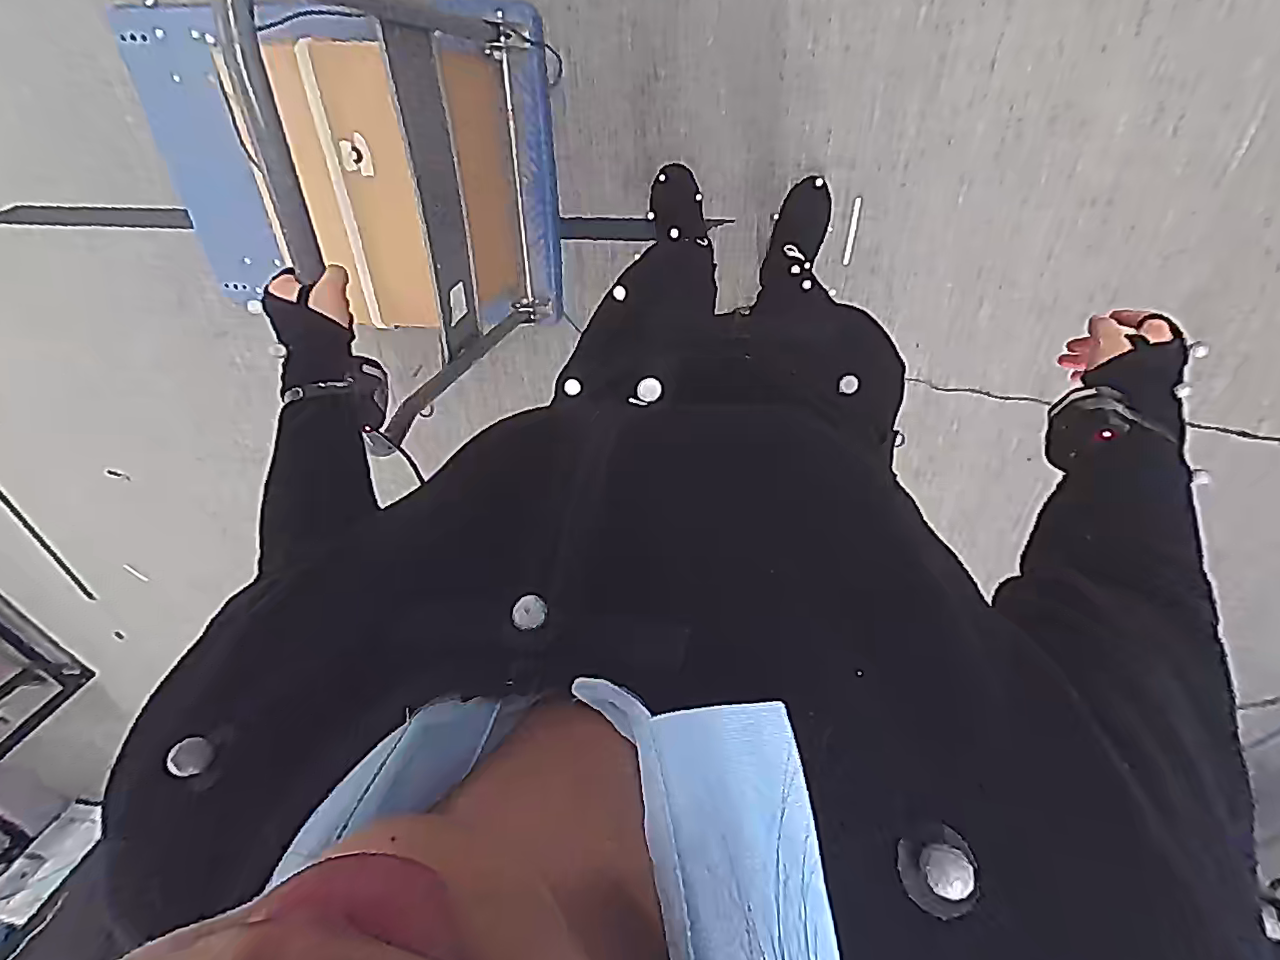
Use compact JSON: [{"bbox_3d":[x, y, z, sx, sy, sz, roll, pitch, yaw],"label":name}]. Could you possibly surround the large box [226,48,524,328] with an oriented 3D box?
[{"bbox_3d":[-0.436,-0.531,1.007,0.320,0.320,0.408,6,124,8],"label":"large box"}]
